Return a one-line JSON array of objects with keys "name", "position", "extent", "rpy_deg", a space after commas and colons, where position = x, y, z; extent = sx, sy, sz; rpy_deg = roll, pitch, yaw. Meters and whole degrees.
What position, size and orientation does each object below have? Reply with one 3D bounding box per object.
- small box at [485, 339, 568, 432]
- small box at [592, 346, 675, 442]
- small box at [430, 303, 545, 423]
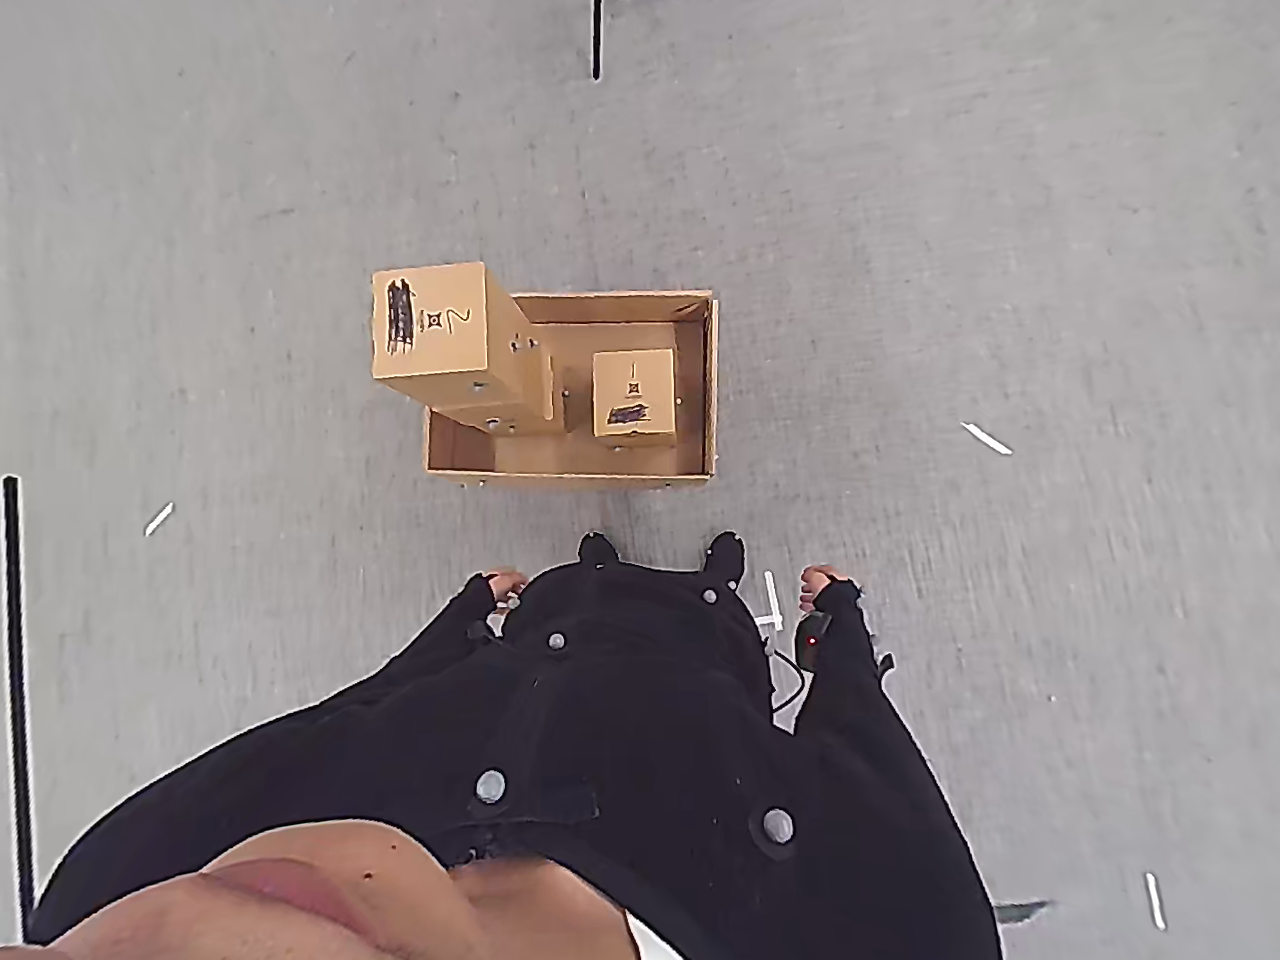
[{"name": "small box", "position": [-0.262, -0.200, 1.190], "extent": [0.179, 0.176, 0.168], "rpy_deg": [-2, 86, 3]}, {"name": "small box", "position": [-0.008, -0.177, 1.170], "extent": [0.168, 0.176, 0.179], "rpy_deg": [-2, 85, 4]}, {"name": "small box", "position": [-0.283, -0.214, 1.029], "extent": [0.168, 0.176, 0.179], "rpy_deg": [-5, 85, 4]}]
